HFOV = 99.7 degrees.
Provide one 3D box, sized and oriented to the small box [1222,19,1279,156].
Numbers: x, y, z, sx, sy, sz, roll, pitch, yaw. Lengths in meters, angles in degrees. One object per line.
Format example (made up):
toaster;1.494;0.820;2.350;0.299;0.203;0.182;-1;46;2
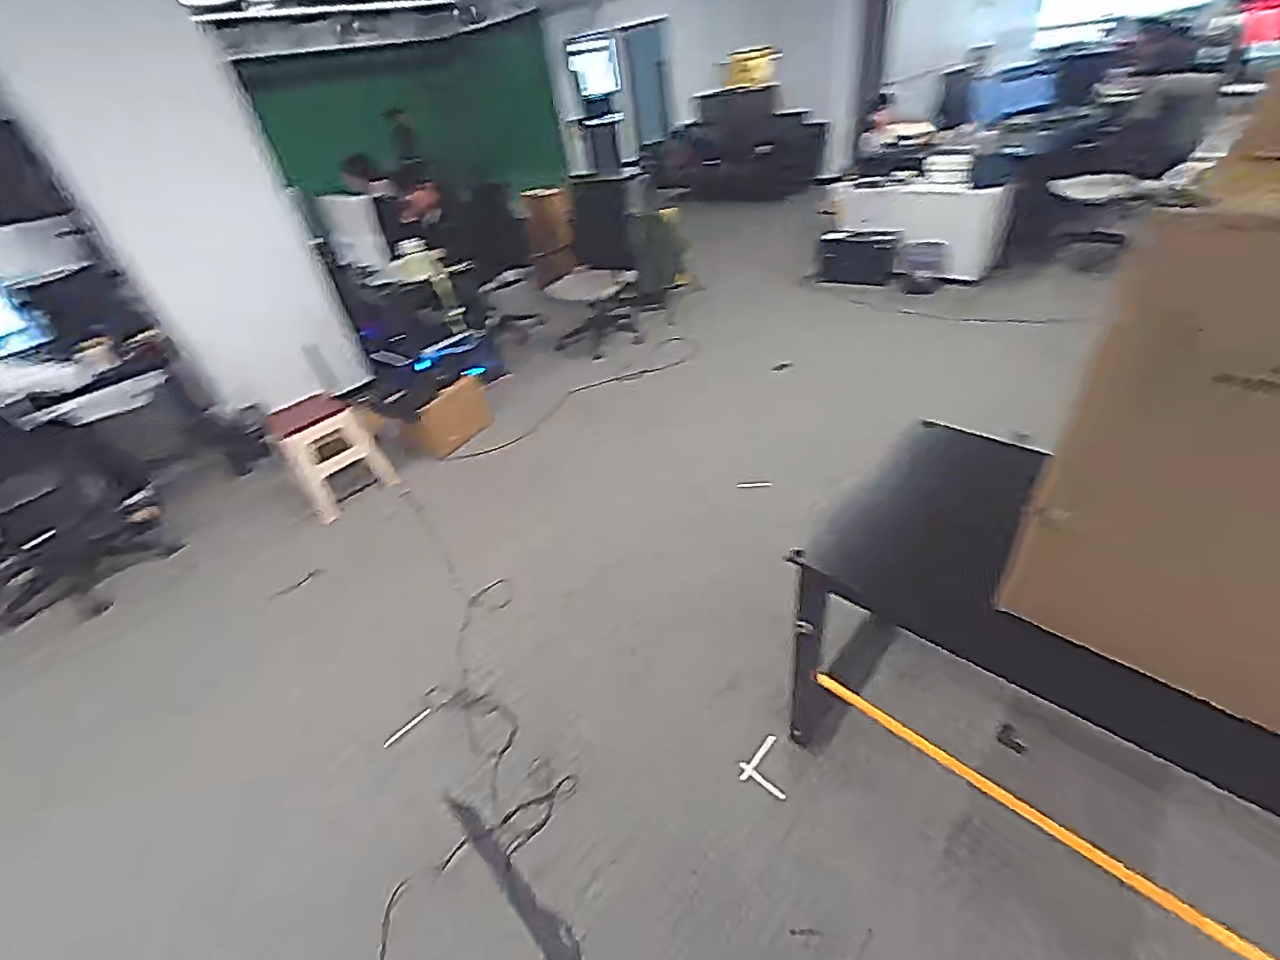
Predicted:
small box;0.765;-0.442;0.563;0.168;0.176;0.179;27;50;37
